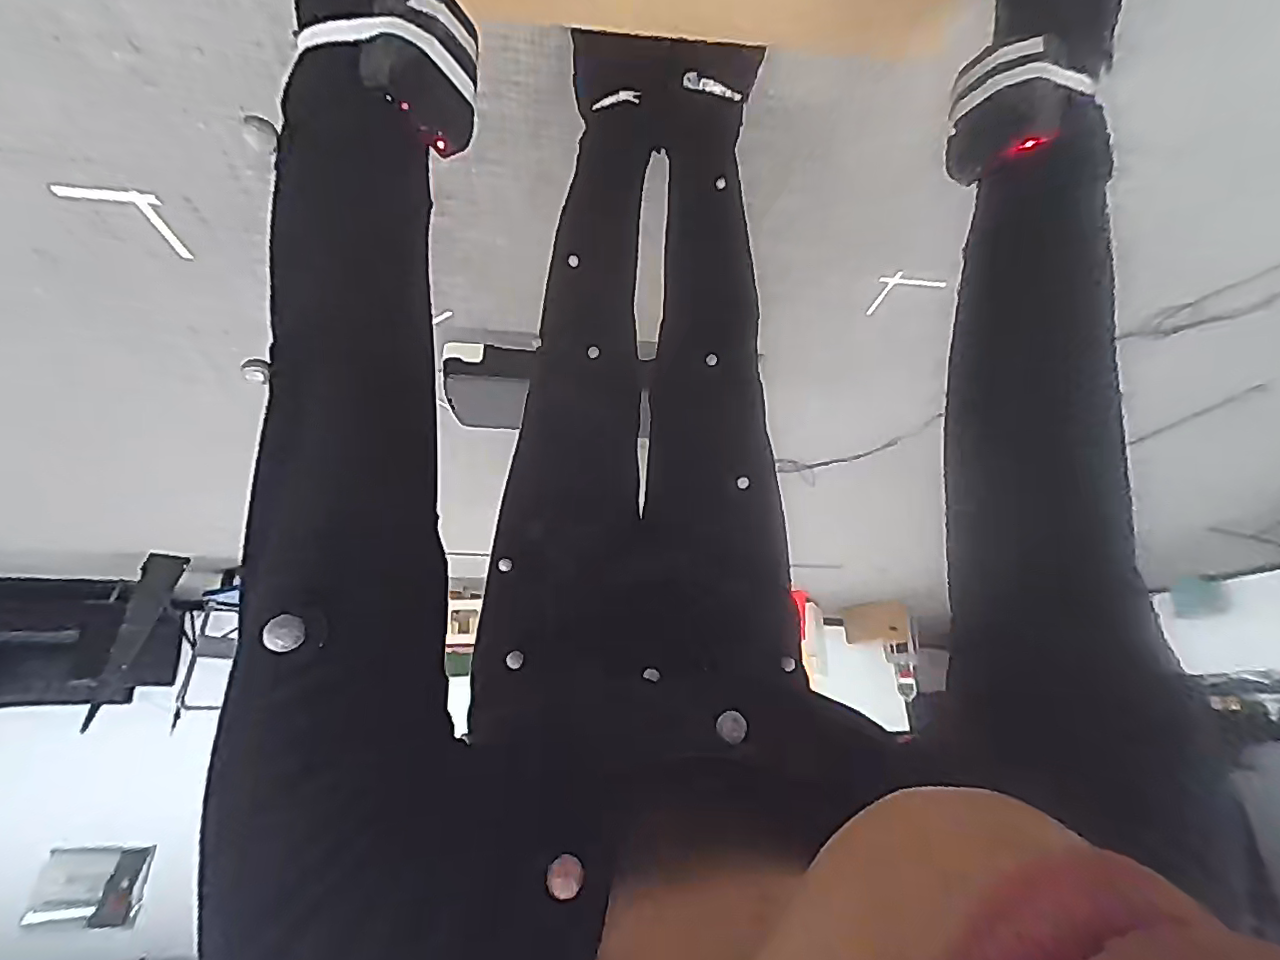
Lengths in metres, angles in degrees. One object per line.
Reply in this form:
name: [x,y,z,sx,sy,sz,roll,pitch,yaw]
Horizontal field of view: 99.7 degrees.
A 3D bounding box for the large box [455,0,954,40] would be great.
large box: [0.056,-0.568,0.361,0.408,0.320,0.320,1,158,-4]
